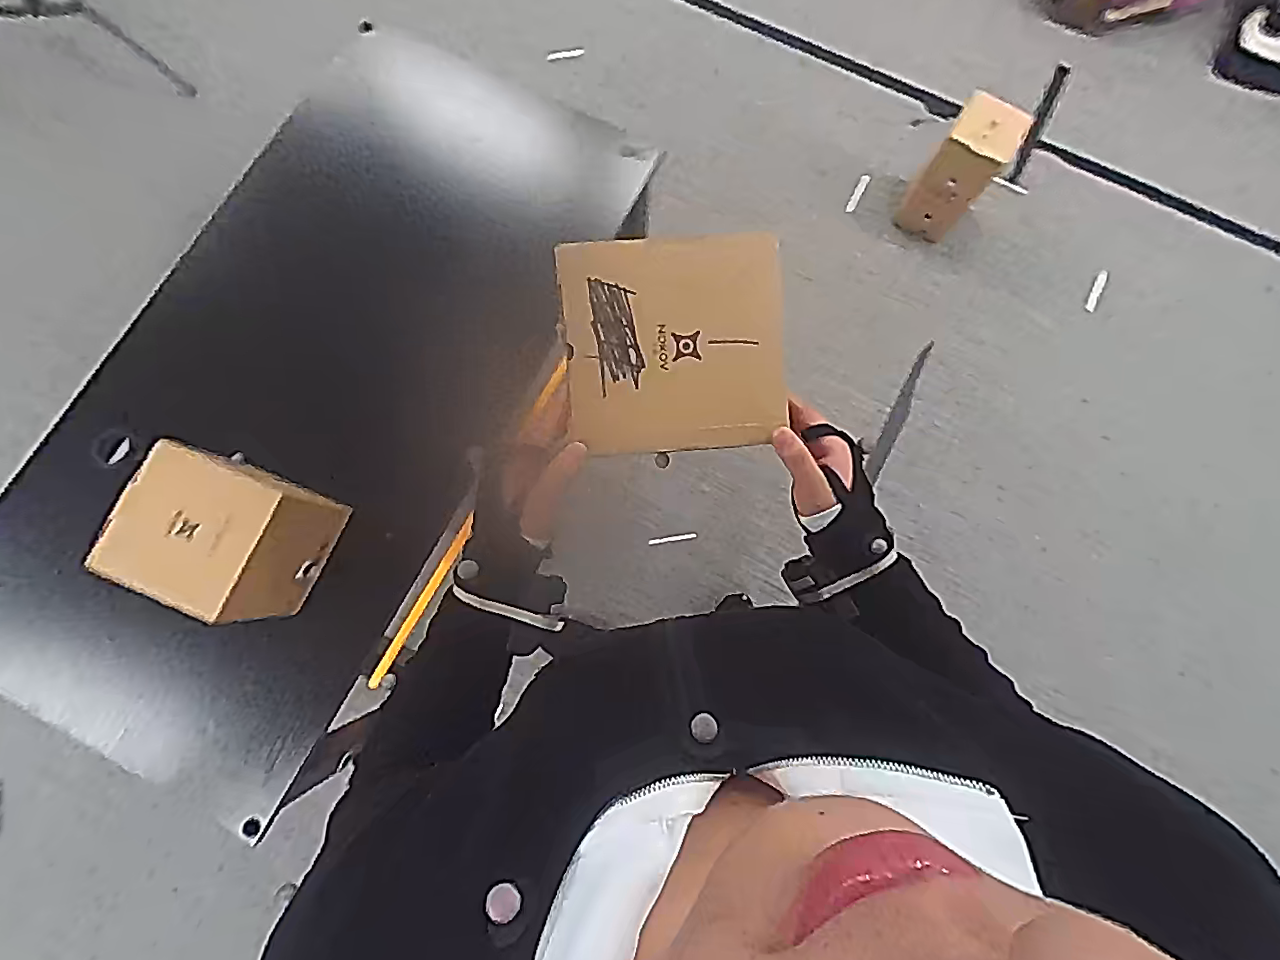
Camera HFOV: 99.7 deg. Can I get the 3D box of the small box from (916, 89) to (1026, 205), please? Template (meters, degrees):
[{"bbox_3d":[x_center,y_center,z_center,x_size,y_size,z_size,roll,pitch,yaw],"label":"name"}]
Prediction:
[{"bbox_3d":[0.903,-0.913,1.495,0.168,0.176,0.179,32,81,5],"label":"small box"}]

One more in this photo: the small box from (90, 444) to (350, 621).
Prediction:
[{"bbox_3d":[-0.534,0.074,0.717,0.179,0.176,0.168,21,81,2],"label":"small box"}]

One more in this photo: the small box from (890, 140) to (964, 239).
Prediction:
[{"bbox_3d":[0.898,-0.881,1.657,0.168,0.176,0.179,26,81,4],"label":"small box"}]

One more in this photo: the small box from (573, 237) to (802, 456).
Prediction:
[{"bbox_3d":[0.035,-0.109,0.503,0.179,0.176,0.168,-4,93,-4],"label":"small box"}]
